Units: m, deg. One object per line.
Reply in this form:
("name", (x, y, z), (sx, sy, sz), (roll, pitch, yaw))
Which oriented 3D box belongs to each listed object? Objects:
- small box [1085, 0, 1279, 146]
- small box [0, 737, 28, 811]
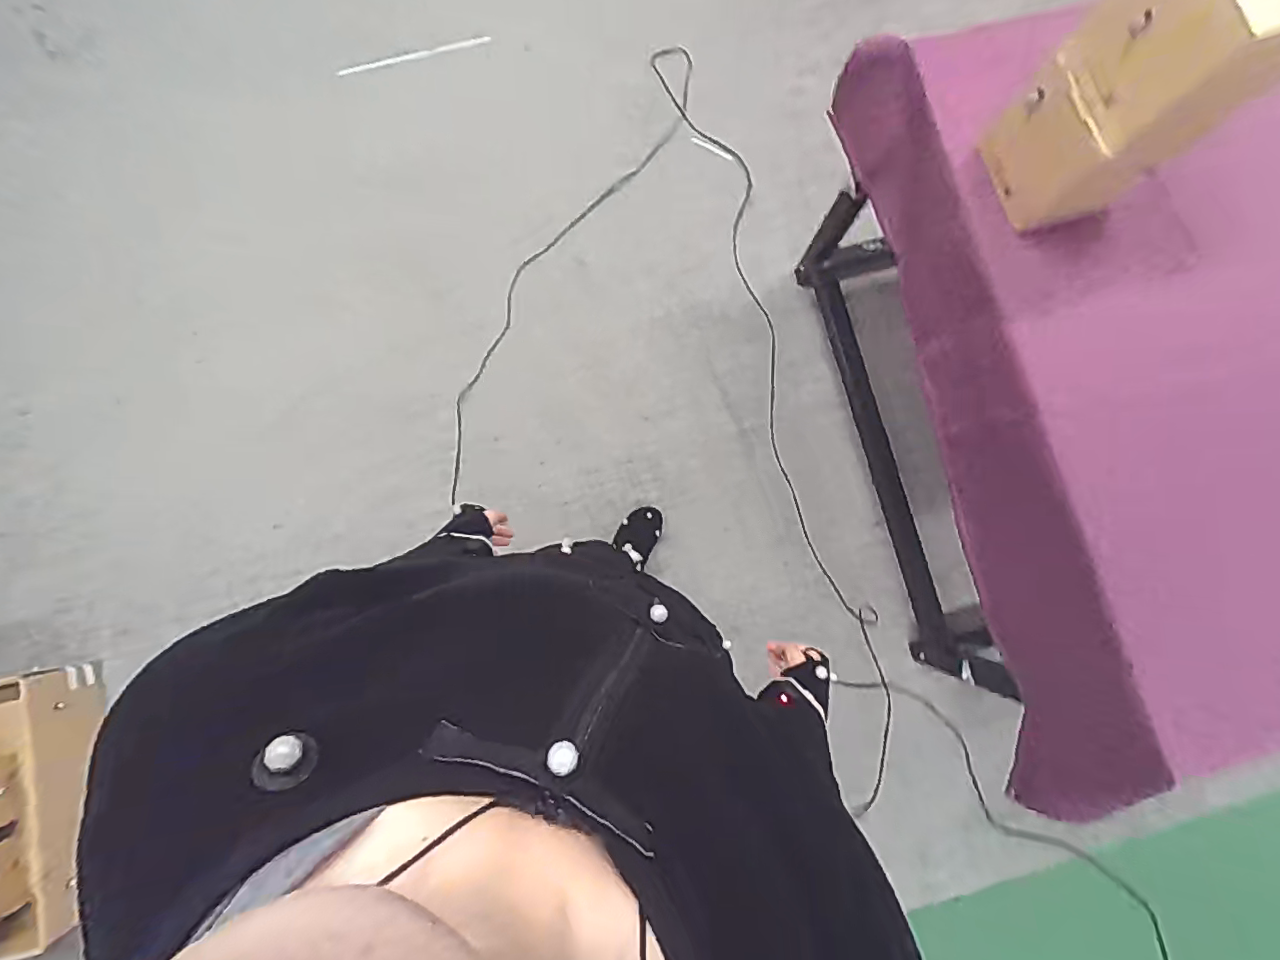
("small box", (0.664, -0.522, 0.616), (0.179, 0.176, 0.168), (-18, 84, -4))
("small box", (-1.660, 0.747, 1.303), (0.179, 0.176, 0.168), (-12, 86, -3))
